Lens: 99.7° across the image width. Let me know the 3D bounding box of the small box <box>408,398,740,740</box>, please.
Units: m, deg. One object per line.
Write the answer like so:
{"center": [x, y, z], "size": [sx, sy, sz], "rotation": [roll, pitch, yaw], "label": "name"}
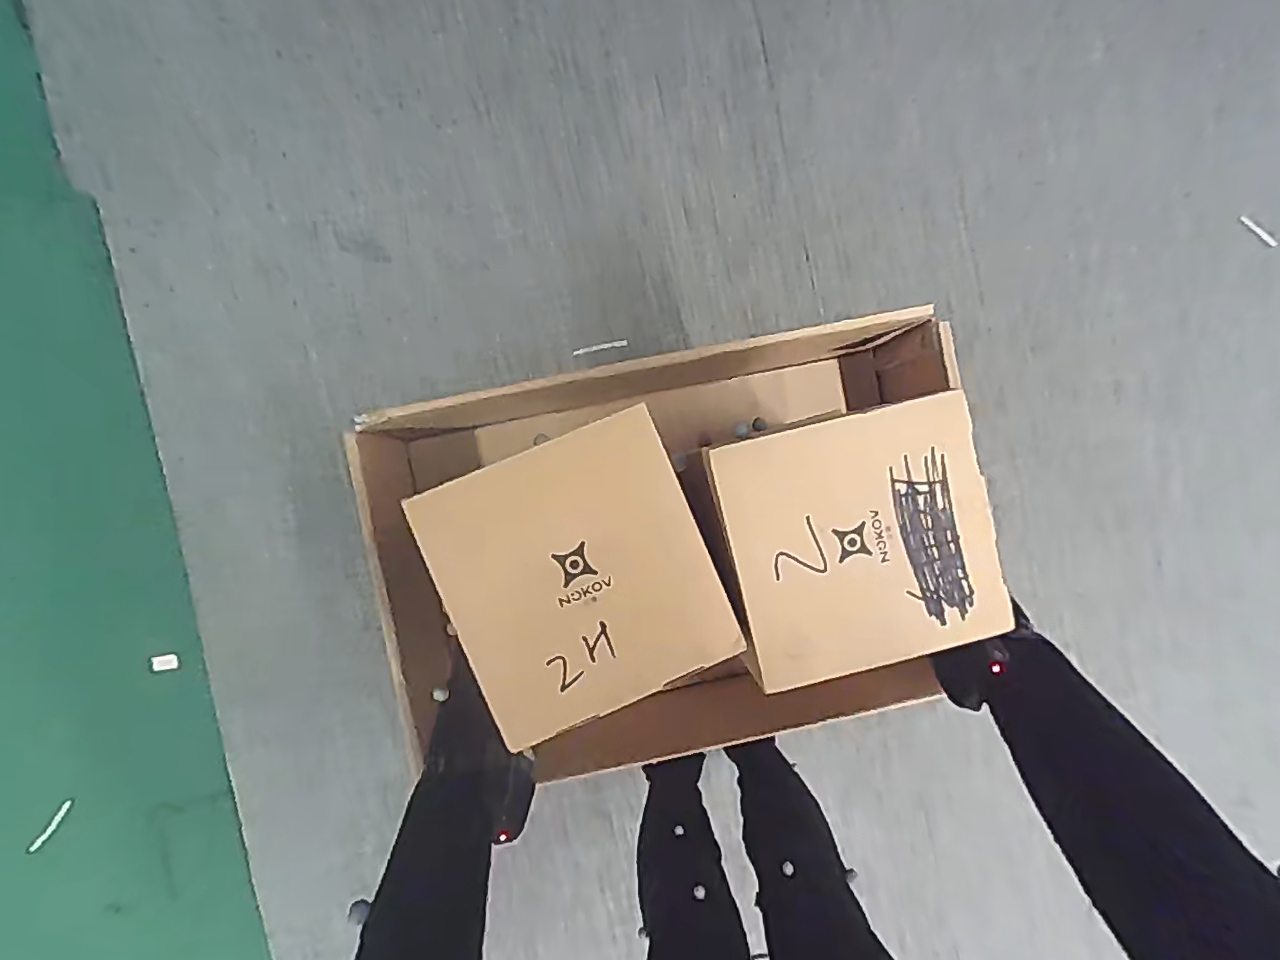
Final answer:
{"center": [-0.046, 0.057, 0.423], "size": [0.168, 0.176, 0.179], "rotation": [-22, 91, -3], "label": "small box"}
